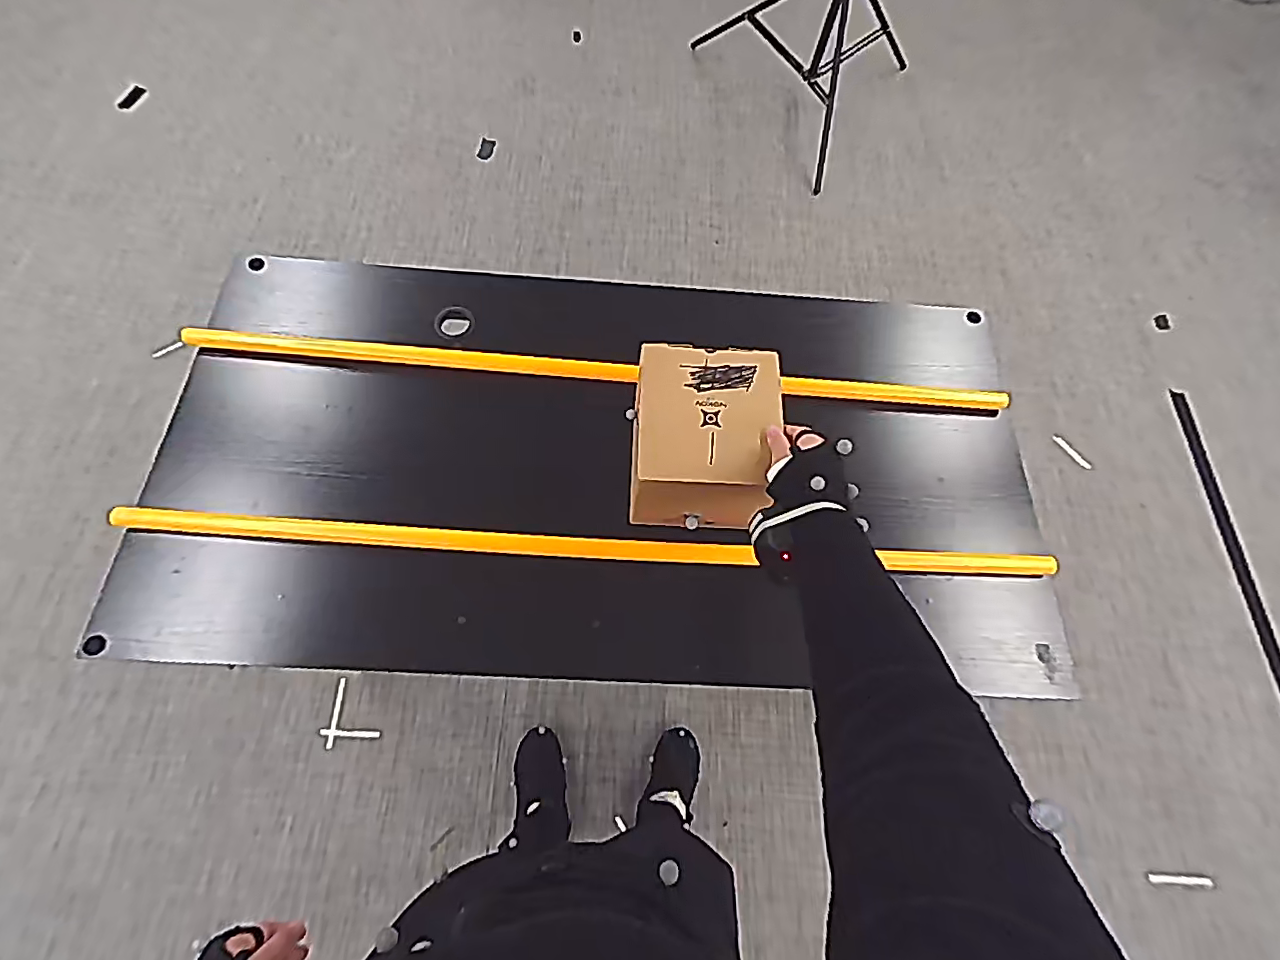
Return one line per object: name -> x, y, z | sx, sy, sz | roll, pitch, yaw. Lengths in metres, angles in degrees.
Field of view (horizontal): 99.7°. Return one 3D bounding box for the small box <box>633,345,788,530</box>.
small box -> 0.079, -0.047, 0.690 | 0.168, 0.176, 0.179 | 3, 69, -2
